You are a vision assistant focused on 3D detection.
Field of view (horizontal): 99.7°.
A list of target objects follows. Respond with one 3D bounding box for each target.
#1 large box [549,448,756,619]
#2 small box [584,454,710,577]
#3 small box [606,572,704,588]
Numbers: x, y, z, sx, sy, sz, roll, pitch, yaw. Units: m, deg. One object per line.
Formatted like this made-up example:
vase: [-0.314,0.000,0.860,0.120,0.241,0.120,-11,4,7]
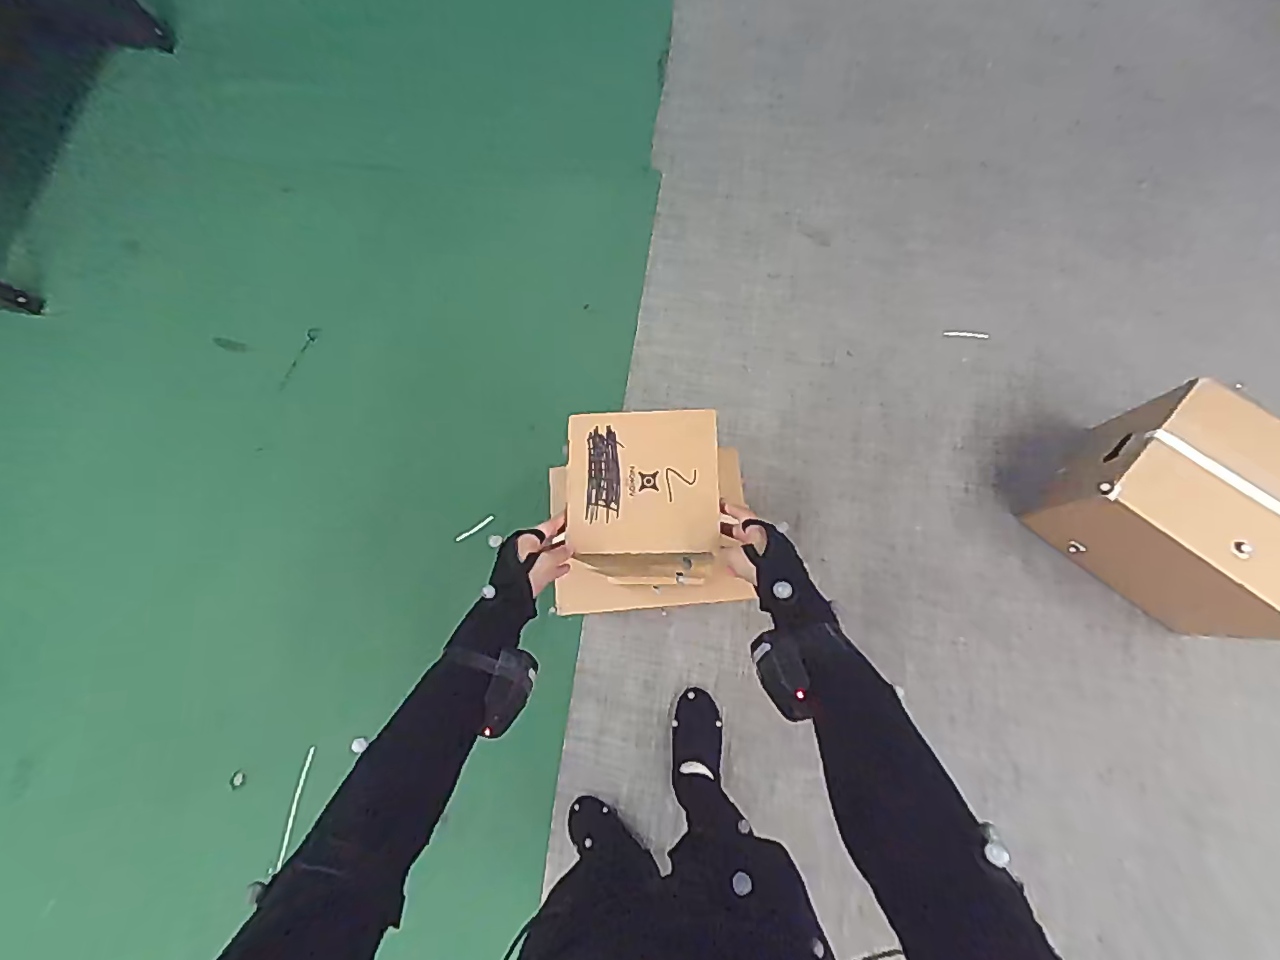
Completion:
large box: [0.035,0.141,1.241,0.408,0.320,0.320,-7,74,7]
small box: [0.019,0.062,0.840,0.179,0.176,0.168,0,76,6]
small box: [0.034,0.108,0.995,0.168,0.176,0.179,-1,76,6]
